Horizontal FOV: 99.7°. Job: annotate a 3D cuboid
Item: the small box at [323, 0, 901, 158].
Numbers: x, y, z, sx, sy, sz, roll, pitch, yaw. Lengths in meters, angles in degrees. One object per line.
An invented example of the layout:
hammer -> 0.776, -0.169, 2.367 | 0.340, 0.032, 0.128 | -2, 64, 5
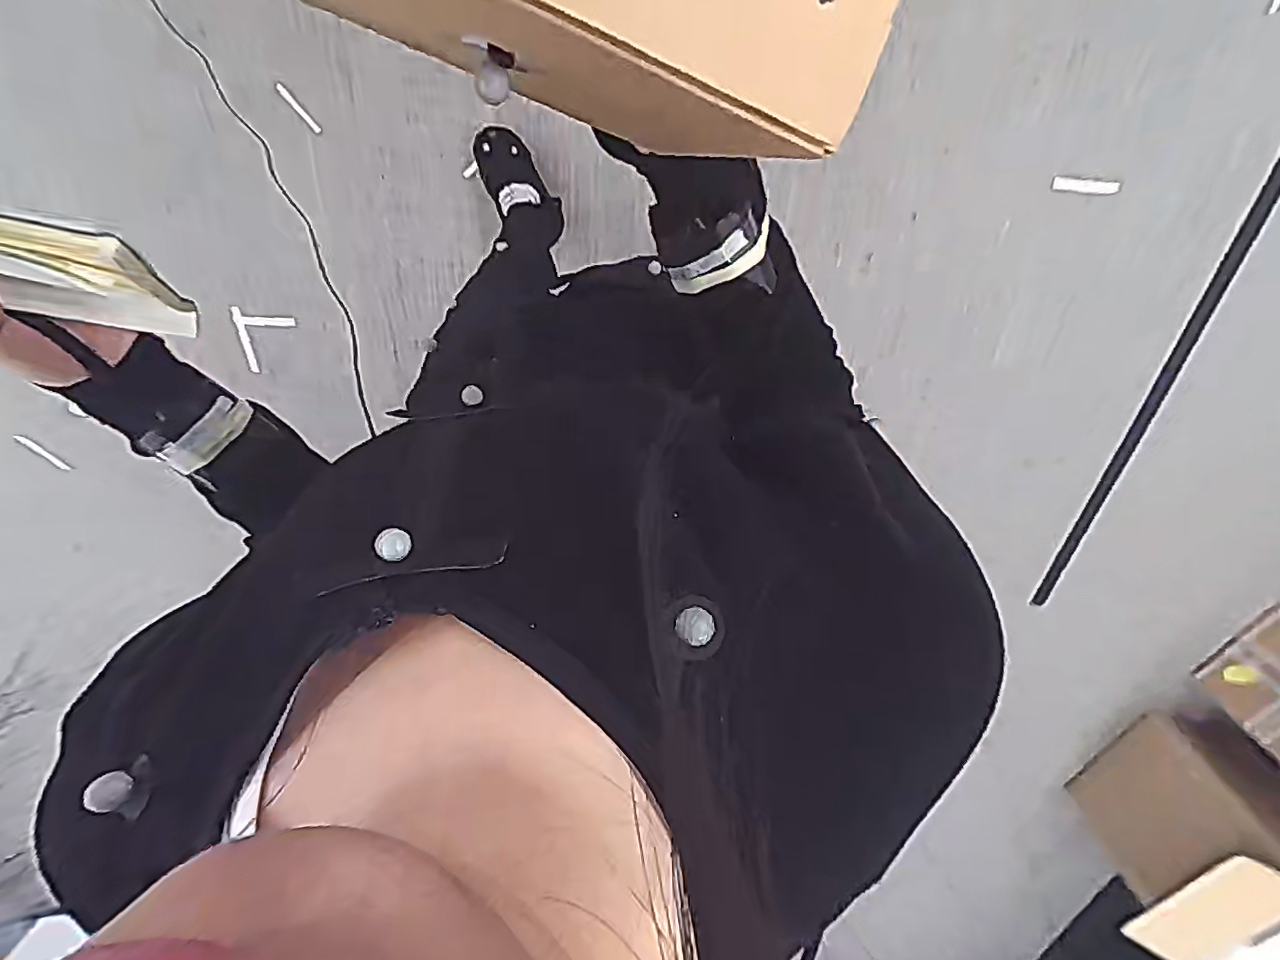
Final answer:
small box -> -0.017, -0.216, 0.154 | 0.179, 0.176, 0.168 | 9, 116, -23

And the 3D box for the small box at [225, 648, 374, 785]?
small box -> -0.635, 0.451, 1.037 | 0.168, 0.176, 0.179 | 4, 119, -1

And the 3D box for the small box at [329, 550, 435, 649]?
small box -> -0.621, 0.288, 1.324 | 0.168, 0.176, 0.179 | 2, 120, 1
